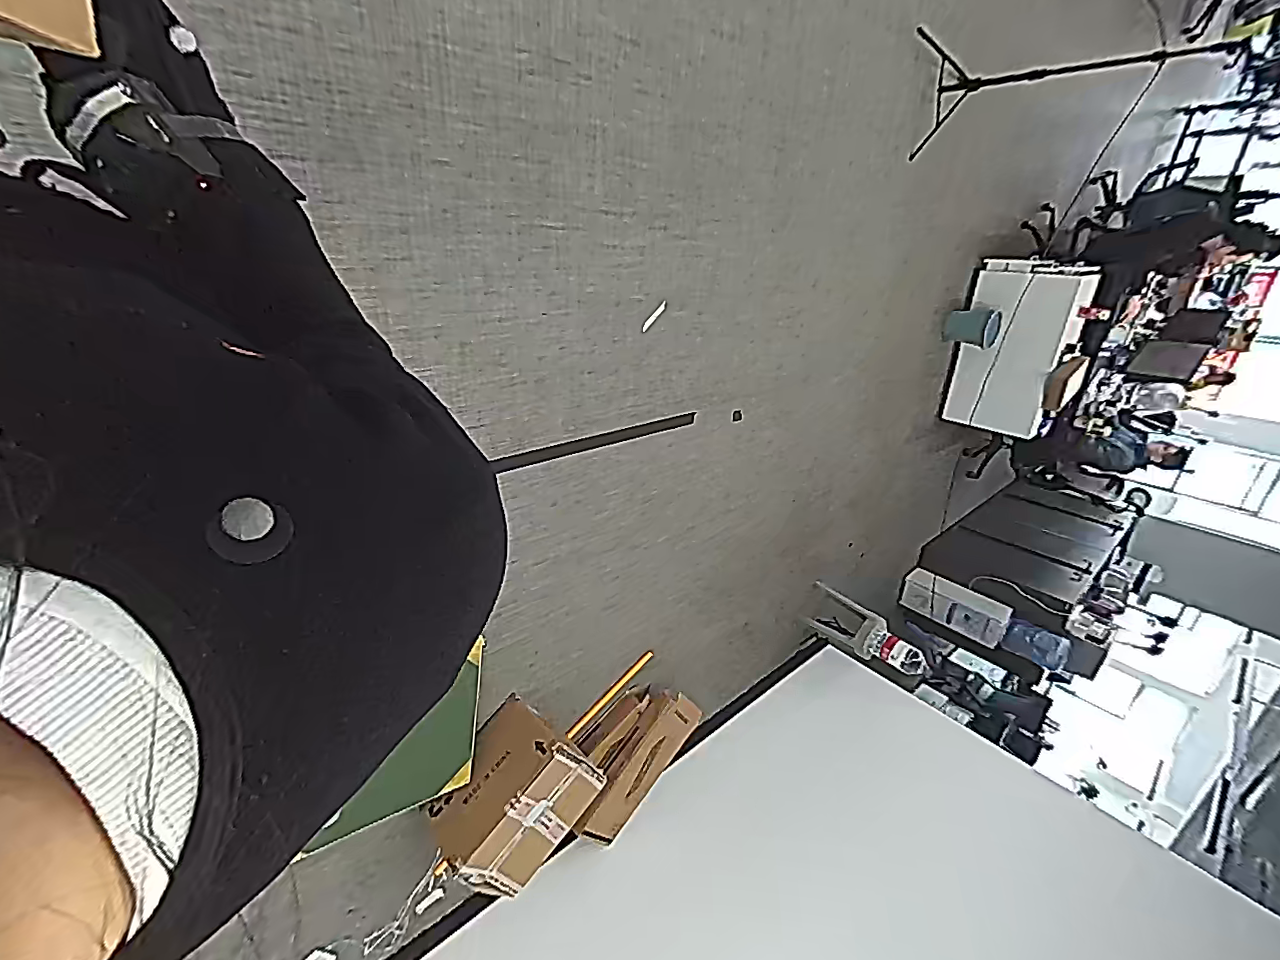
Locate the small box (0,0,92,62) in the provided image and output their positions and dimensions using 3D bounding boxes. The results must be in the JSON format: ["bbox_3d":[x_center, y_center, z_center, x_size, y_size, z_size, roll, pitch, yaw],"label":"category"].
[{"bbox_3d":[-0.327,-0.266,0.158,0.176,0.168,0.179,-1,116,-23],"label":"small box"}]
